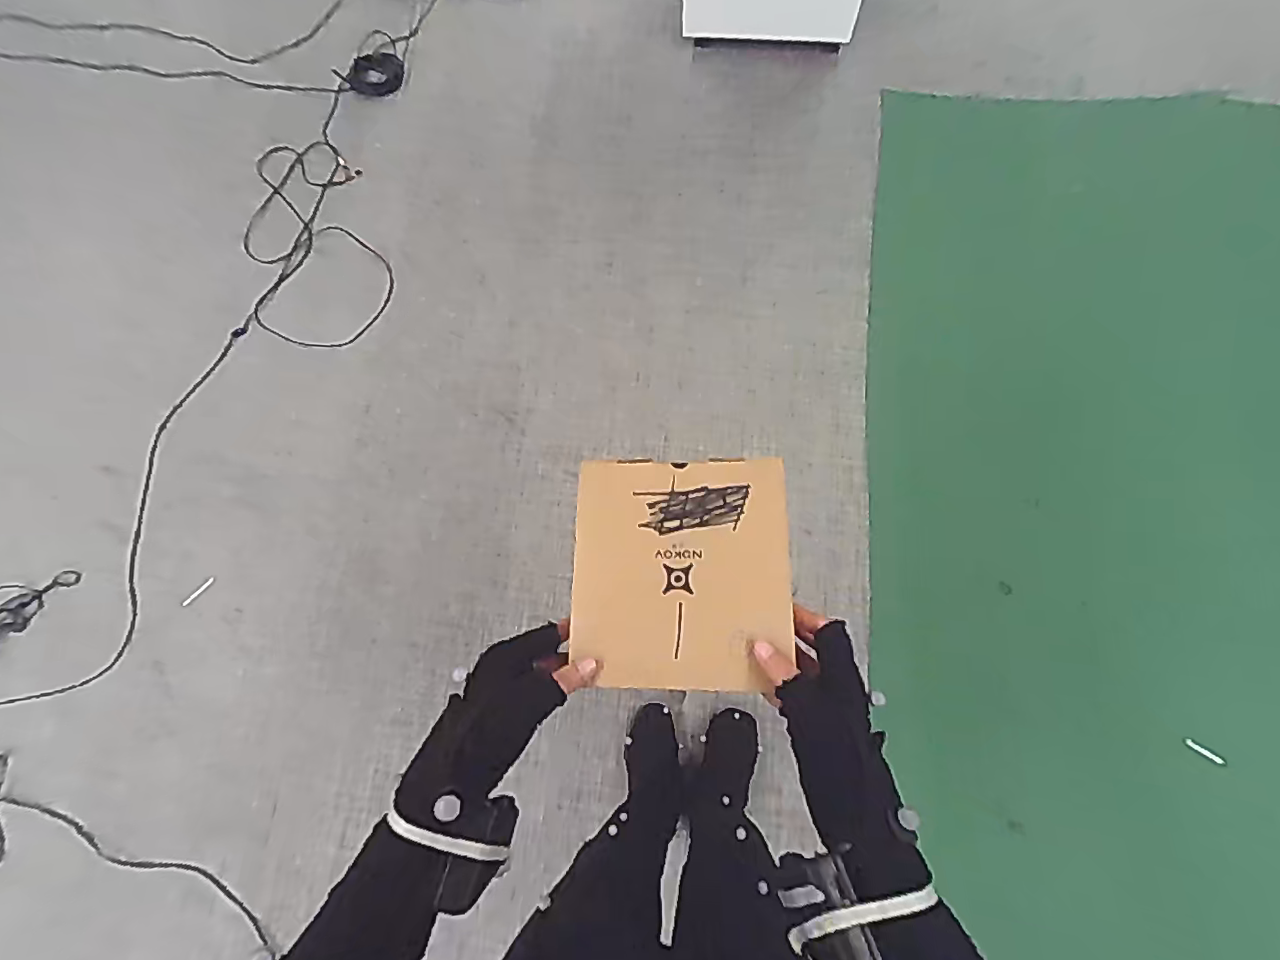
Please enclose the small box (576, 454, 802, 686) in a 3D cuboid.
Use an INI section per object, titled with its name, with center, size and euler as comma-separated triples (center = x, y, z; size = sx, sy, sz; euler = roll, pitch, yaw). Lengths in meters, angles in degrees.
[small box]
center = 0.045, 0.086, 0.489
size = 0.168, 0.176, 0.179
euler = -1, 73, 7
